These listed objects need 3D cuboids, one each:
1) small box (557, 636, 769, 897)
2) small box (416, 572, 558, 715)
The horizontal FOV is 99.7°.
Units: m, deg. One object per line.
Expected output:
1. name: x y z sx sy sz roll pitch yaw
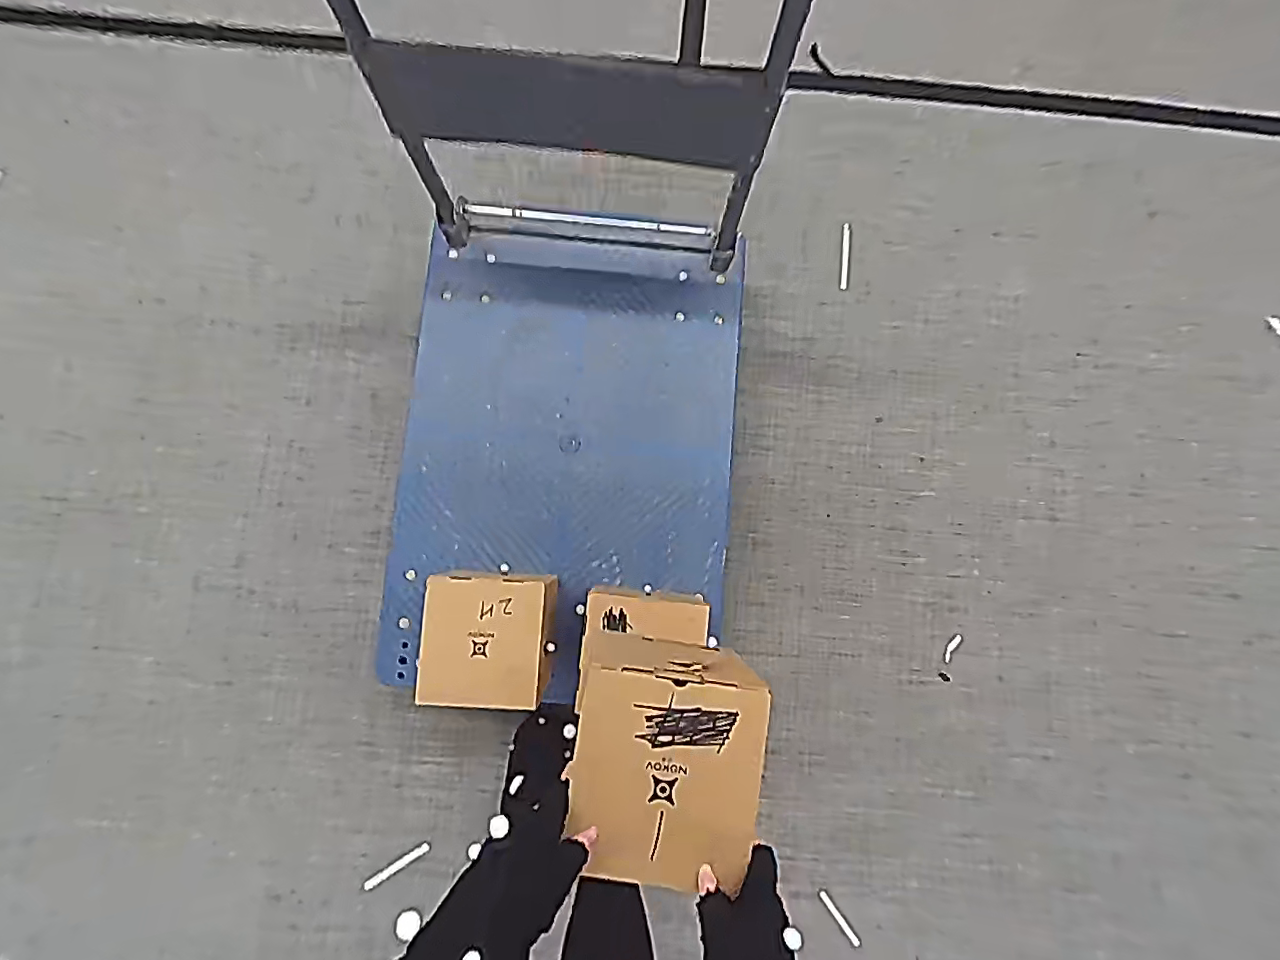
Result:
1. small box: 0.019 0.269 0.552 0.168 0.176 0.179 10 85 -1
2. small box: -0.221 0.239 0.826 0.168 0.176 0.179 4 82 -2
